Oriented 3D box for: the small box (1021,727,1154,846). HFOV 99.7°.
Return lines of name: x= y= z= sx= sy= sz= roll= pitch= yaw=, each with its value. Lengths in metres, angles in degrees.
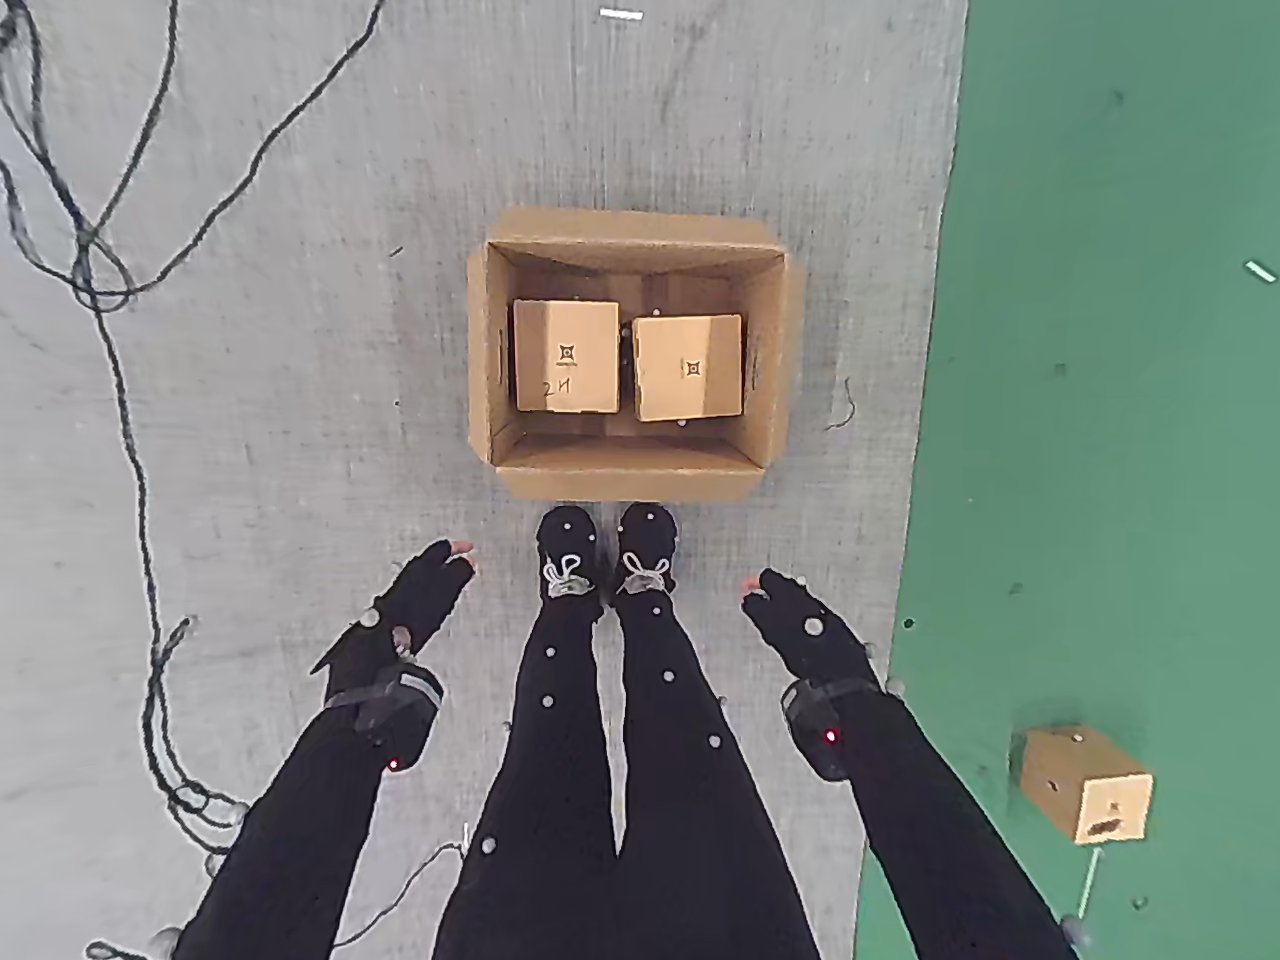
small box: x=1.045 y=0.717 z=1.278 sx=0.168 sy=0.176 sz=0.179 roll=-4 pitch=103 yaw=-4
